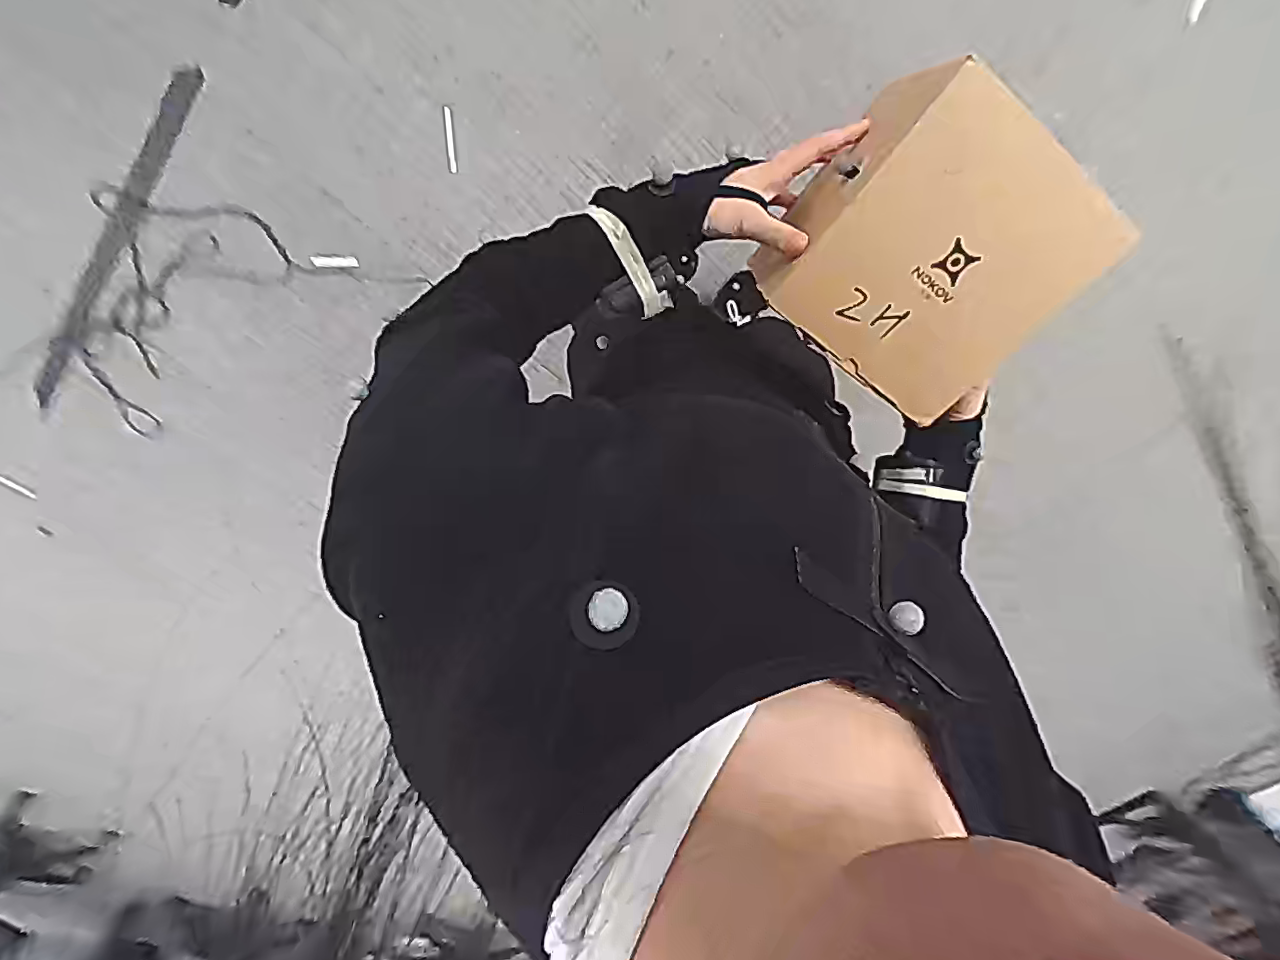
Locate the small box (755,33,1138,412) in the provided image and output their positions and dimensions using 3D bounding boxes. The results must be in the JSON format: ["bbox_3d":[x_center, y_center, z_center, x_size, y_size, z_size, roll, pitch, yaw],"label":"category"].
[{"bbox_3d":[0.209,-0.193,0.429,0.168,0.176,0.179,33,118,-13],"label":"small box"}]
